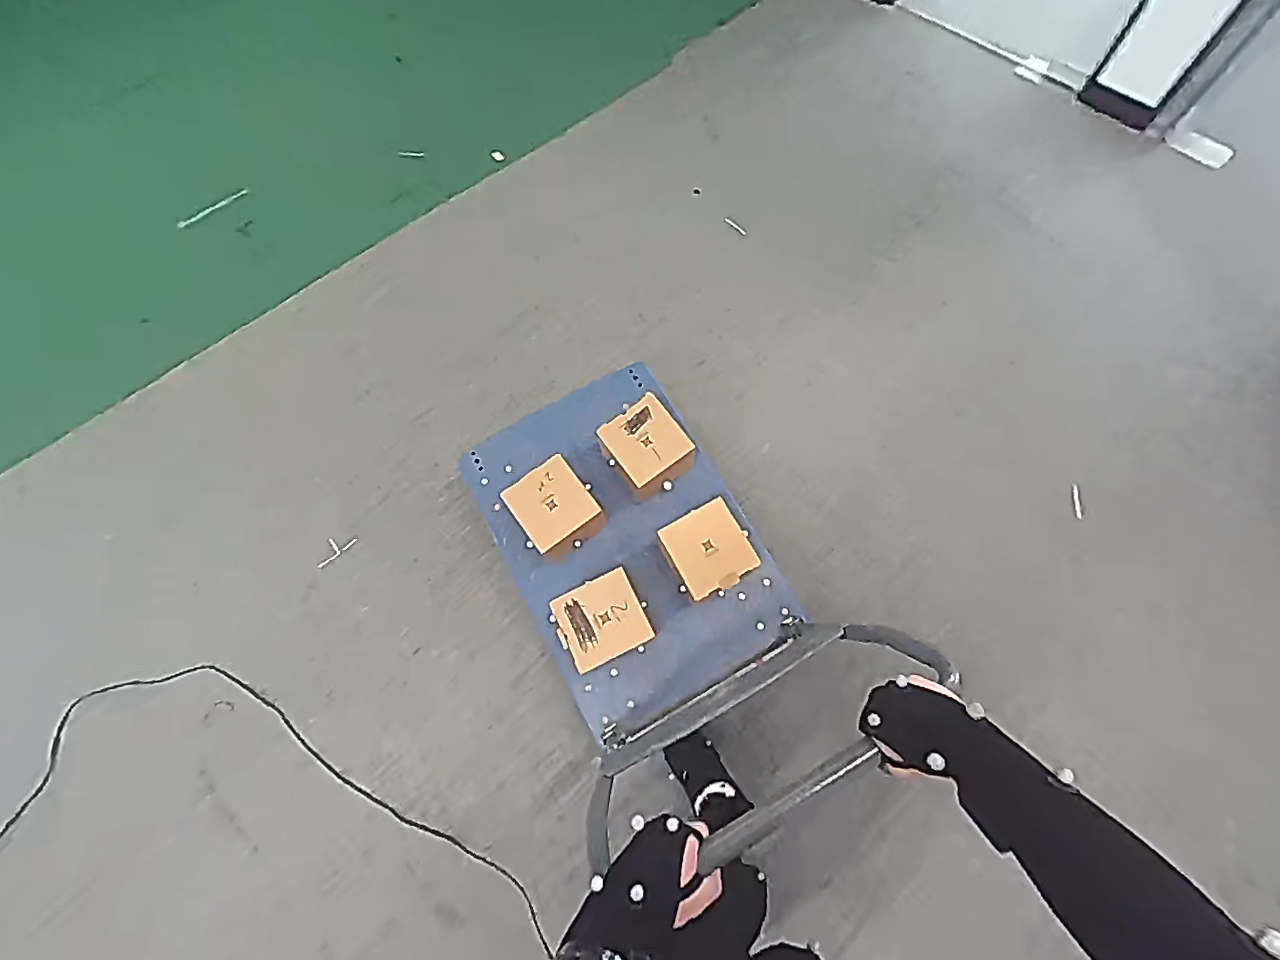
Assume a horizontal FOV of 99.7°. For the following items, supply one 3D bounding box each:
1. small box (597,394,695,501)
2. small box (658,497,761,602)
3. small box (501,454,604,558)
[{"bbox_3d":[0.013,-0.073,1.327,0.168,0.176,0.179,-35,76,-8],"label":"small box"},{"bbox_3d":[0.151,0.167,1.252,0.168,0.176,0.179,-28,75,-6],"label":"small box"},{"bbox_3d":[-0.200,0.072,1.289,0.168,0.176,0.179,-36,75,-10],"label":"small box"}]
